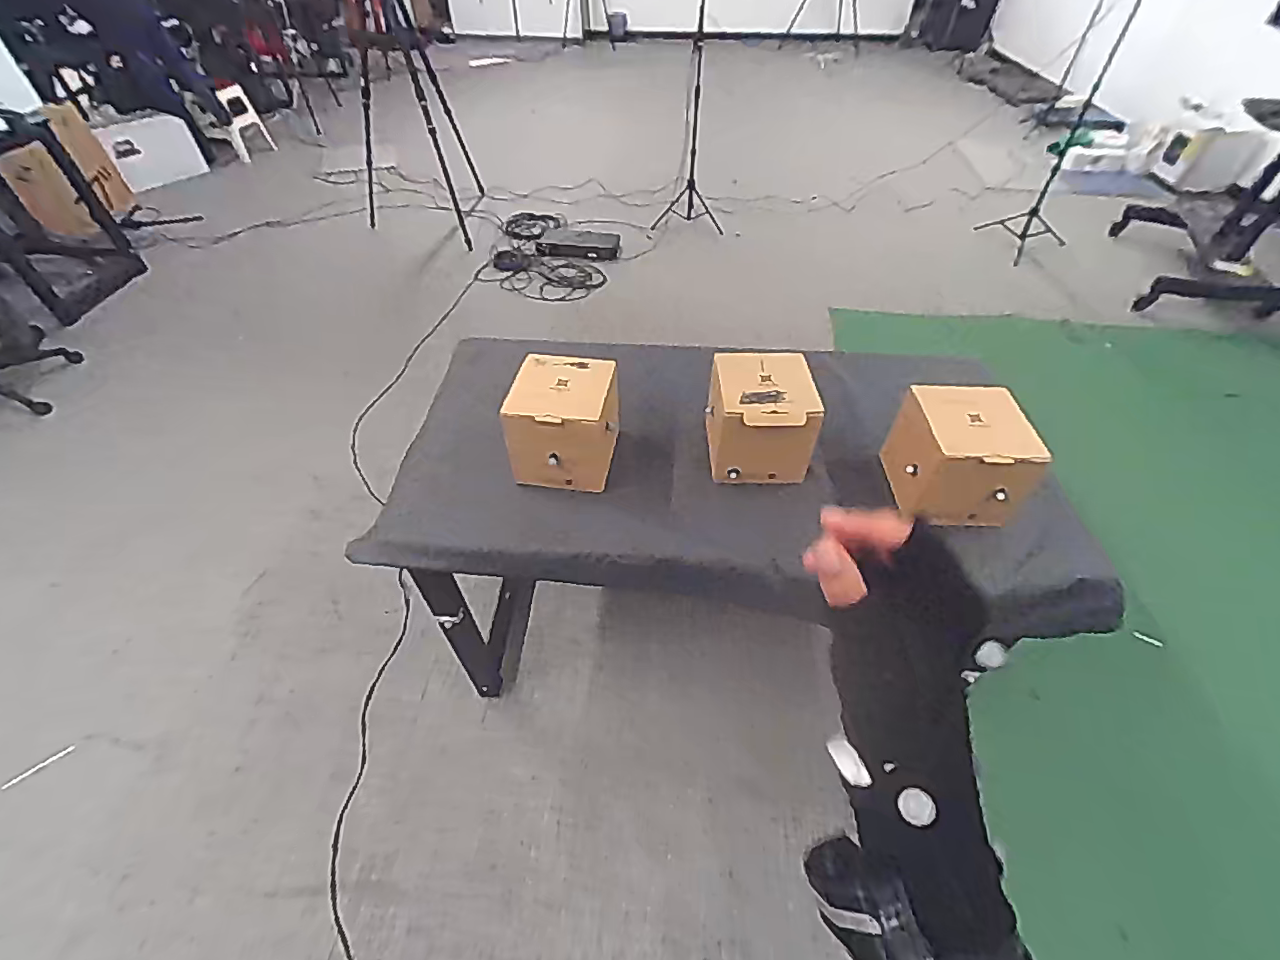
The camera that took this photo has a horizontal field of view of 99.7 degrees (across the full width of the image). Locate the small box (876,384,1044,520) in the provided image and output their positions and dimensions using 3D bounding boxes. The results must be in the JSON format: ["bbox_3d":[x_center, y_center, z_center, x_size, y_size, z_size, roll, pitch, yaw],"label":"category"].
[{"bbox_3d":[0.533,-0.046,0.930,0.168,0.176,0.179,2,46,0],"label":"small box"}]

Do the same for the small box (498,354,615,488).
[{"bbox_3d":[-0.138,-0.106,0.981,0.168,0.176,0.179,6,48,5],"label":"small box"}]

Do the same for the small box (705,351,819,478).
[{"bbox_3d":[0.213,-0.117,0.993,0.168,0.176,0.179,0,47,0],"label":"small box"}]
